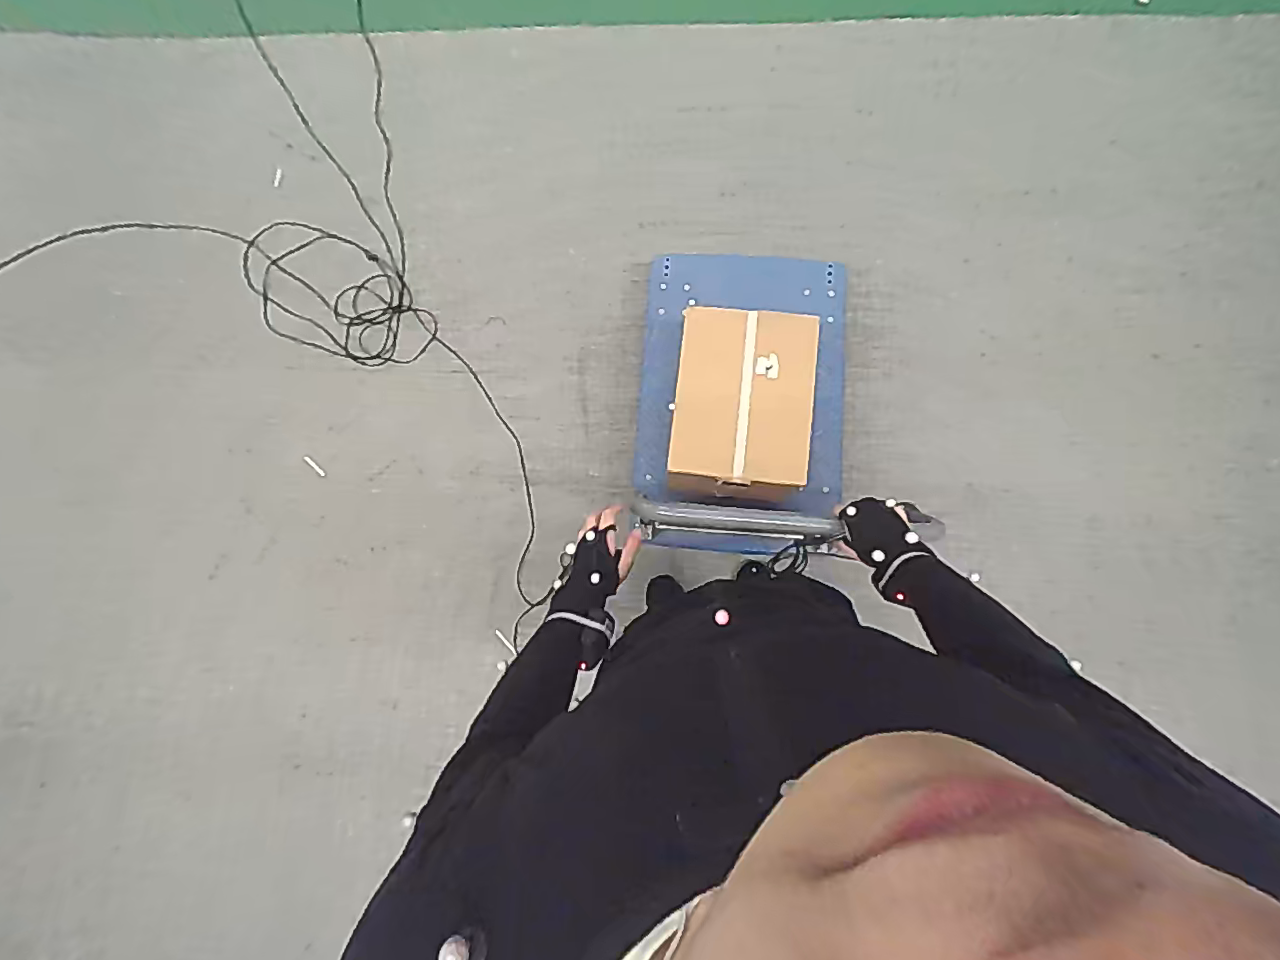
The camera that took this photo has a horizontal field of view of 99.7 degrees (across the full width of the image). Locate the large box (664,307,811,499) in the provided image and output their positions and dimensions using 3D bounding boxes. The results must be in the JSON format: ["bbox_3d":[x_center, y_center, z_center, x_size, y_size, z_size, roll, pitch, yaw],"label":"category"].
[{"bbox_3d":[0.238,-0.178,1.386,0.320,0.320,0.408,6,81,4],"label":"large box"}]
